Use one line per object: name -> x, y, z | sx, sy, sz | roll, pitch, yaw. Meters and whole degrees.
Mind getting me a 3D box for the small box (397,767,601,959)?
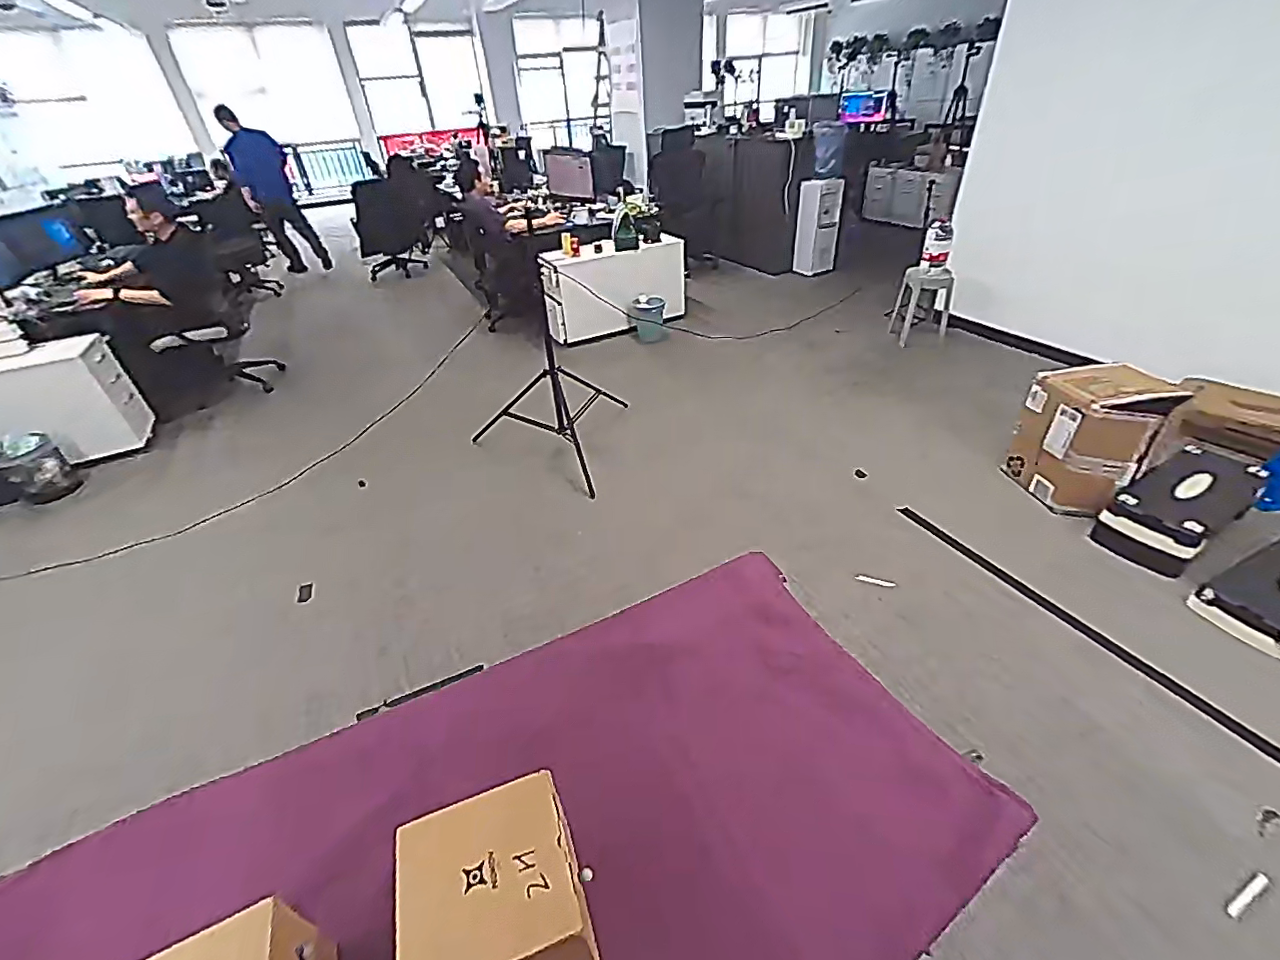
small box -> -0.154, 0.468, 0.603 | 0.179, 0.176, 0.168 | -15, 37, -14
